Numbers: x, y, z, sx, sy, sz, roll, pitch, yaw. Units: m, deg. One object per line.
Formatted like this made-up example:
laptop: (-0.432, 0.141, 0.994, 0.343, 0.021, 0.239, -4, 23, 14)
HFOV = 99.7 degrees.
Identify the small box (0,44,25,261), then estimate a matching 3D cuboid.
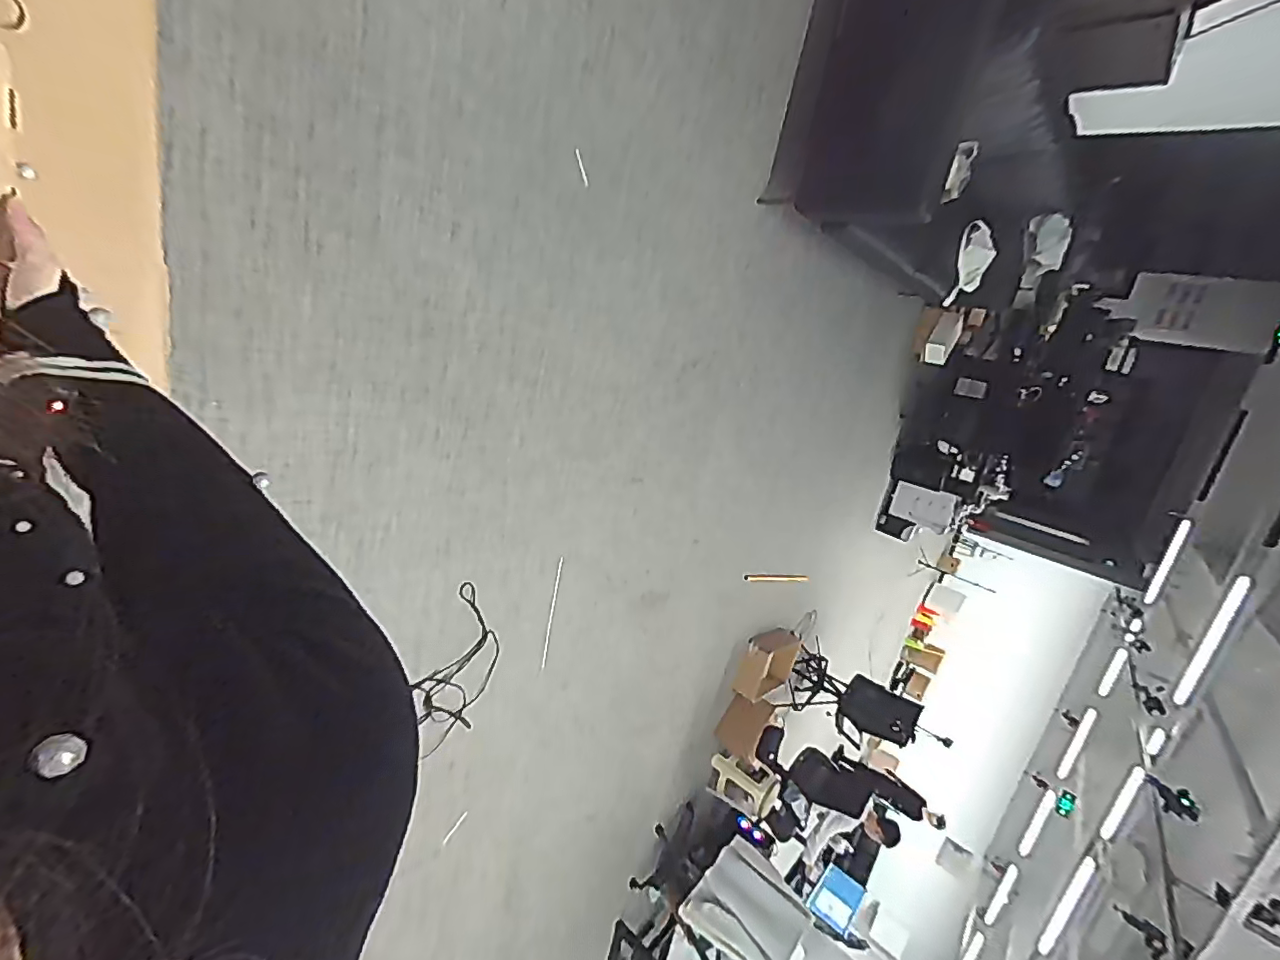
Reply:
small box: (-0.618, -0.285, 0.424, 0.179, 0.176, 0.168, 0, 109, -49)
